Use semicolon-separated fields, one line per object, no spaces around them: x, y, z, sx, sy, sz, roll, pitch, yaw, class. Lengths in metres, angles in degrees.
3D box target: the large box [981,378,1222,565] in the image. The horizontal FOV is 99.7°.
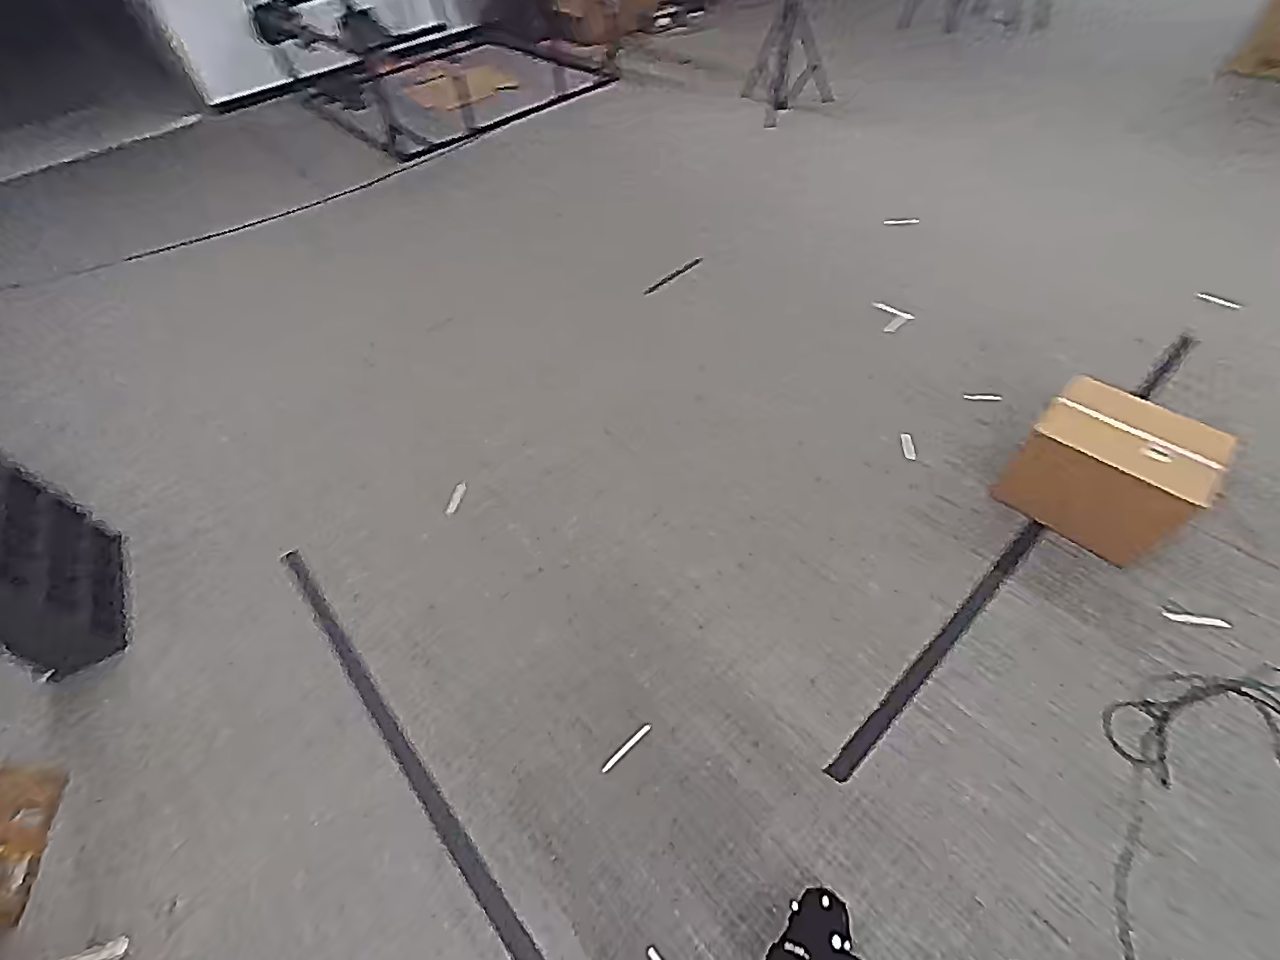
1.335;-0.030;1.607;0.320;0.320;0.408;-39;59;-23;large box
